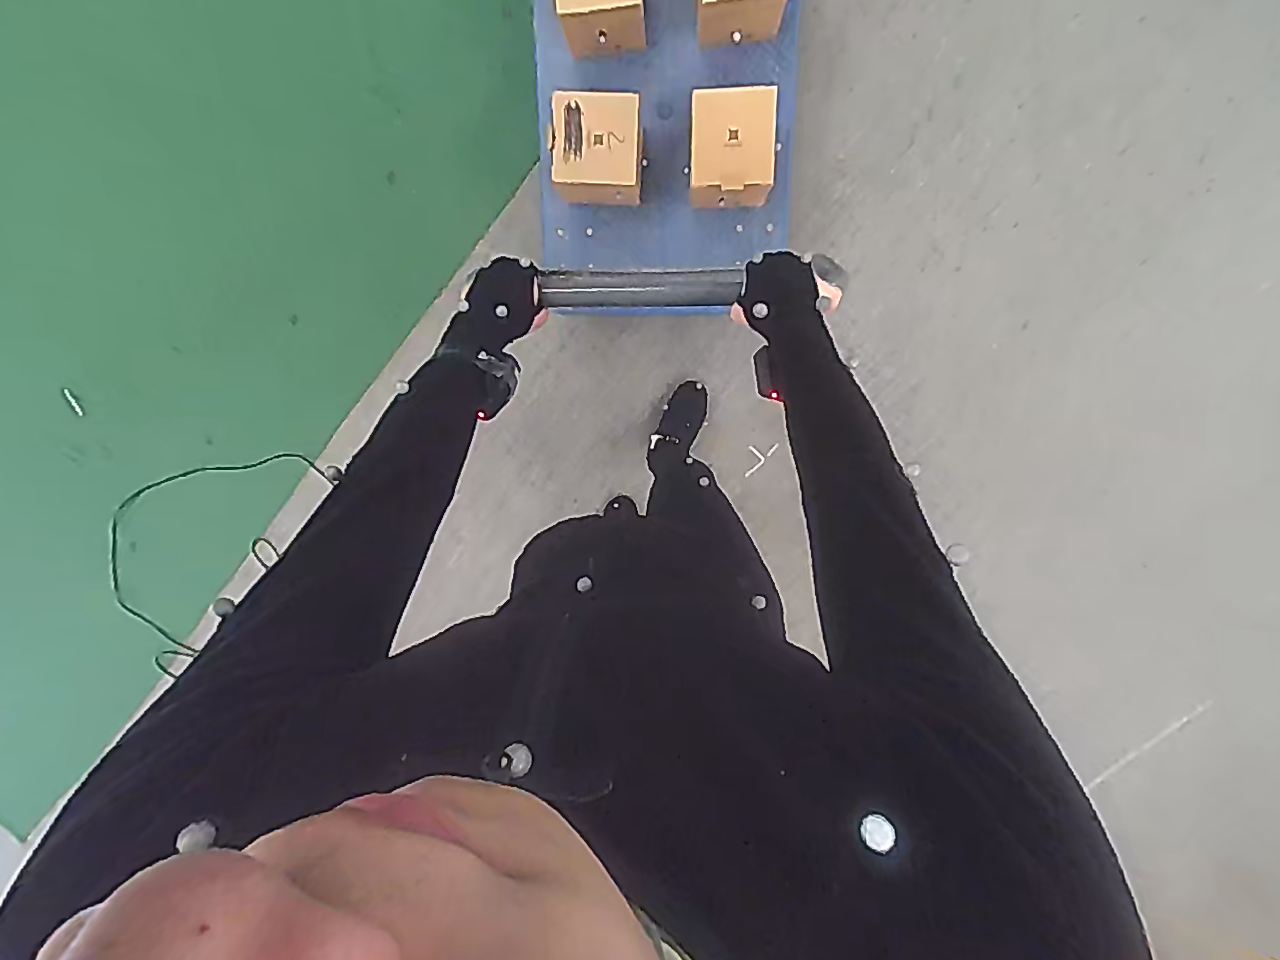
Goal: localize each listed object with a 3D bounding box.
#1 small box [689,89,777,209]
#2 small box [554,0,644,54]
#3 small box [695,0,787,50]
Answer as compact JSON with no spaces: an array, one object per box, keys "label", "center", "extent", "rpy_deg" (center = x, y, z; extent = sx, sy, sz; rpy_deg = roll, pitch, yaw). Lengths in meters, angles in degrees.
[{"label":"small box","center":[0.188,-0.689,1.143],"extent":[0.168,0.176,0.179],"rpy_deg":[0,105,4]},{"label":"small box","center":[-0.082,-0.991,1.082],"extent":[0.168,0.176,0.179],"rpy_deg":[-4,104,4]},{"label":"small box","center":[0.194,-0.997,1.063],"extent":[0.168,0.176,0.179],"rpy_deg":[-4,105,5]}]
